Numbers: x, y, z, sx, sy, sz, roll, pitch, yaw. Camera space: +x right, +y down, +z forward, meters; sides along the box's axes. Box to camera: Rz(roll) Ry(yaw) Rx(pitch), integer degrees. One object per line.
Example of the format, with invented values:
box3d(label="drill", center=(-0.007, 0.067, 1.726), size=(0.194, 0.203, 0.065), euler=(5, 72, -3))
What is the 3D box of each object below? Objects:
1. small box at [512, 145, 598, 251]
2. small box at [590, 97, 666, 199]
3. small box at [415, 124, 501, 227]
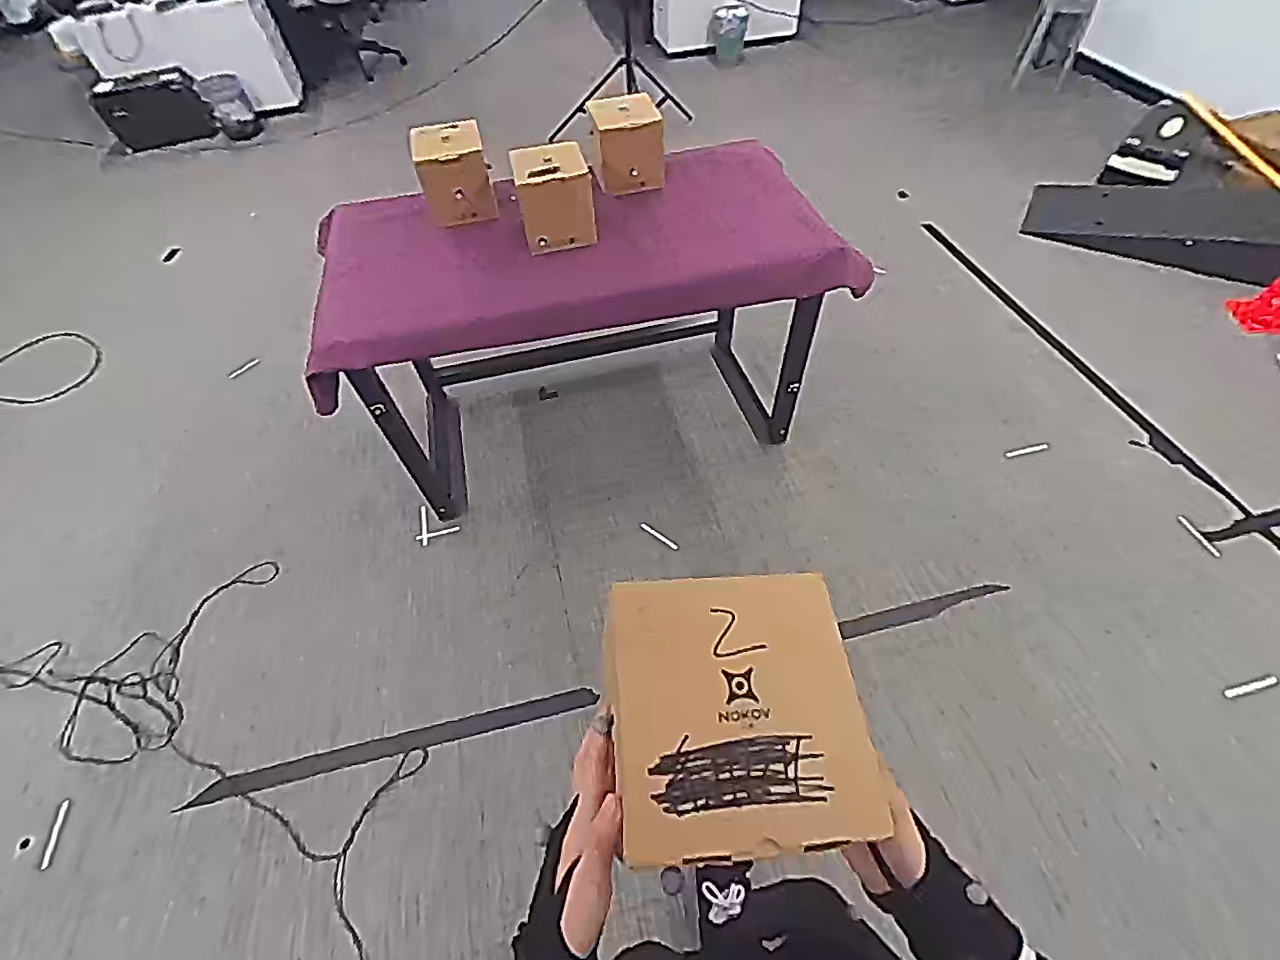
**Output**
box3d(label="small box", center=(-0.202, -0.670, 1.302), size=(0.168, 0.176, 0.179), euler=(-13, 54, -6))
box3d(label="small box", center=(-0.032, -0.884, 1.442), size=(0.168, 0.176, 0.179), euler=(-14, 56, -5))
box3d(label="small box", center=(-0.463, -0.772, 1.387), size=(0.168, 0.176, 0.179), euler=(-13, 57, -7))
